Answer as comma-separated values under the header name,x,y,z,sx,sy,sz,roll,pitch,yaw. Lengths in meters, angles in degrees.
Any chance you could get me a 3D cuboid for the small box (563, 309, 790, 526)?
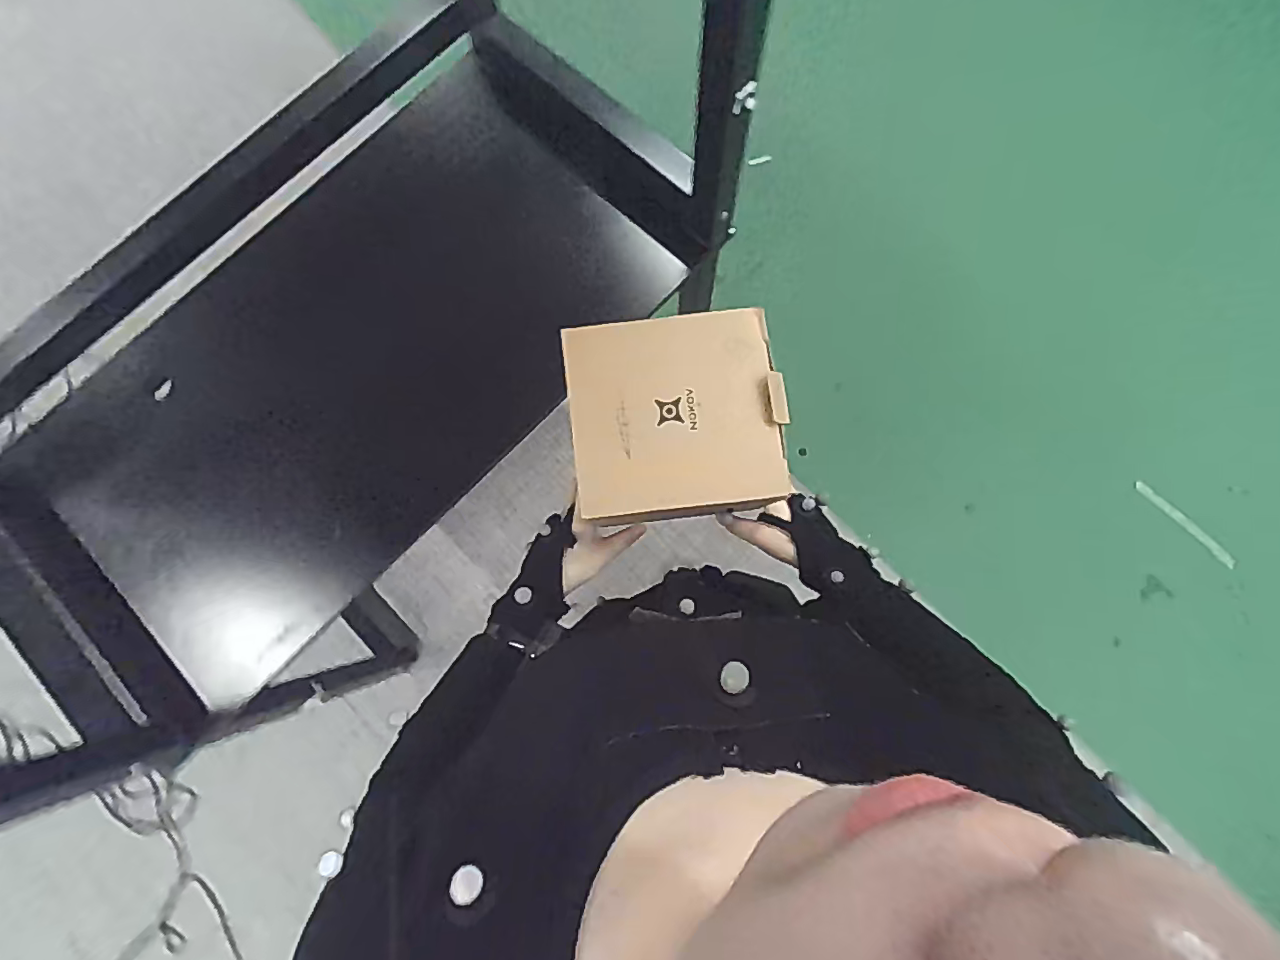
name,x,y,z,sx,sy,sz,roll,pitch,yaw
small box,0.029,-0.047,0.527,0.179,0.176,0.168,-7,82,0
